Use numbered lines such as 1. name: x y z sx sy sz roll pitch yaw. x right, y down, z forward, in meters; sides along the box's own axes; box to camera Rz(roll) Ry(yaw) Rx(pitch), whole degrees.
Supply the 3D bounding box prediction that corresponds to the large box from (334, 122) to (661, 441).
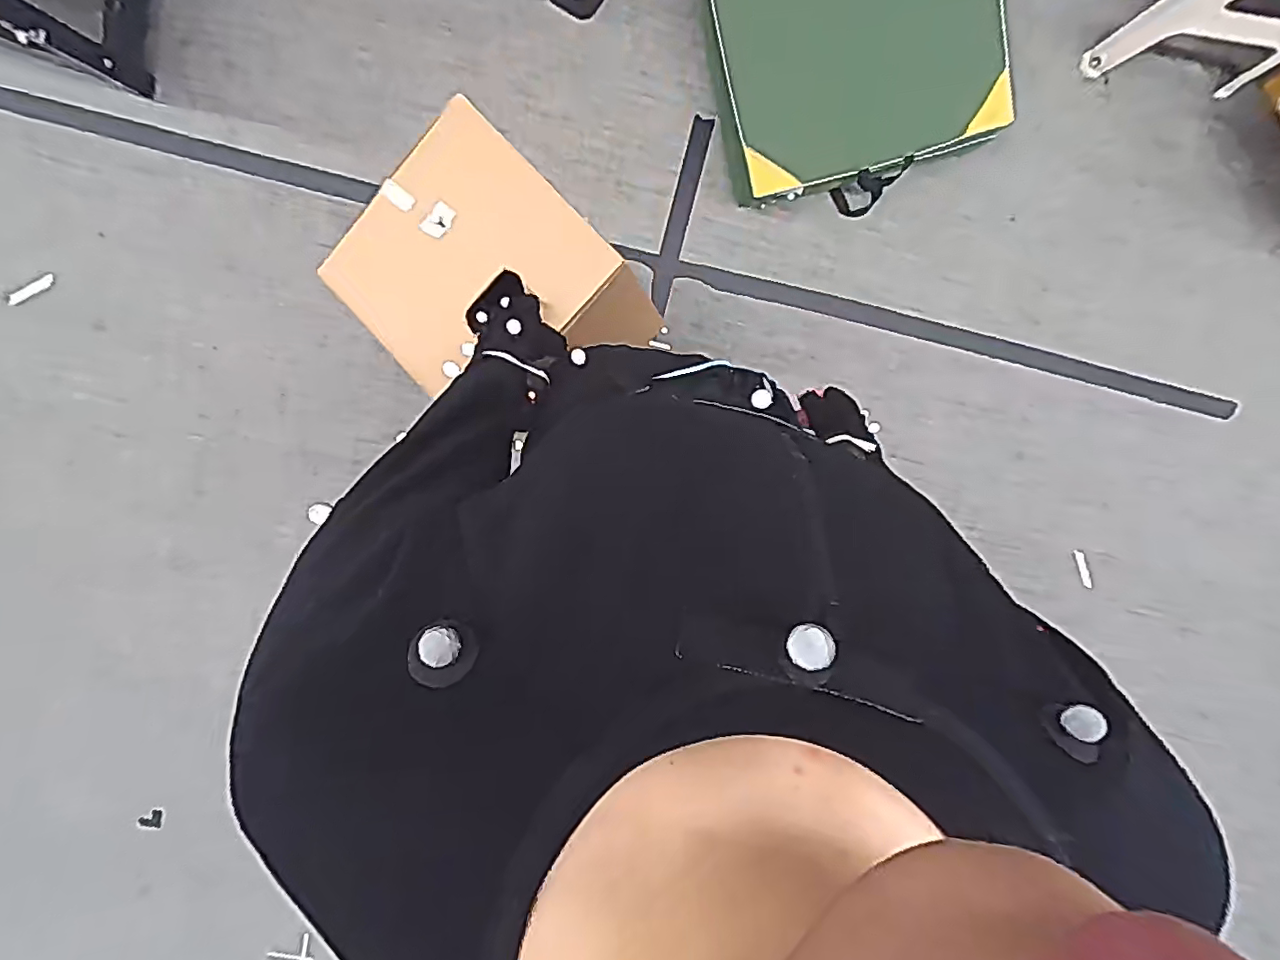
1. large box: -0.202 -0.295 0.923 0.320 0.408 0.320 -42 90 13
